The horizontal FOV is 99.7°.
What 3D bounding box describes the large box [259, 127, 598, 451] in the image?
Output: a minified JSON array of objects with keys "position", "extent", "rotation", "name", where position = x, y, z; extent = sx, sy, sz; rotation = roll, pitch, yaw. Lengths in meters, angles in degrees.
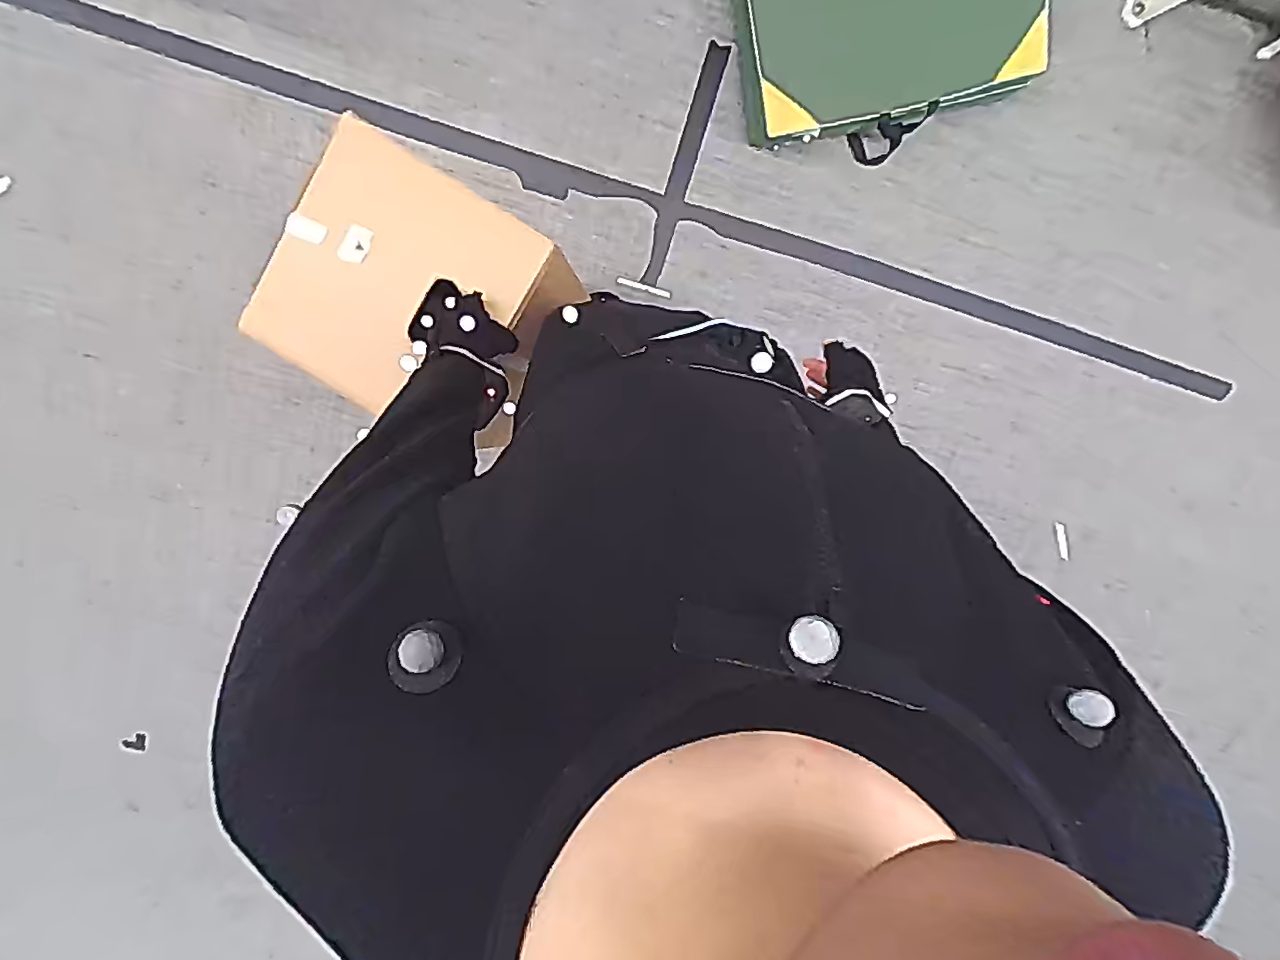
[{"position":[-0.299,-0.270,0.896],"extent":[0.320,0.408,0.320],"rotation":[35,96,-2],"name":"large box"}]
